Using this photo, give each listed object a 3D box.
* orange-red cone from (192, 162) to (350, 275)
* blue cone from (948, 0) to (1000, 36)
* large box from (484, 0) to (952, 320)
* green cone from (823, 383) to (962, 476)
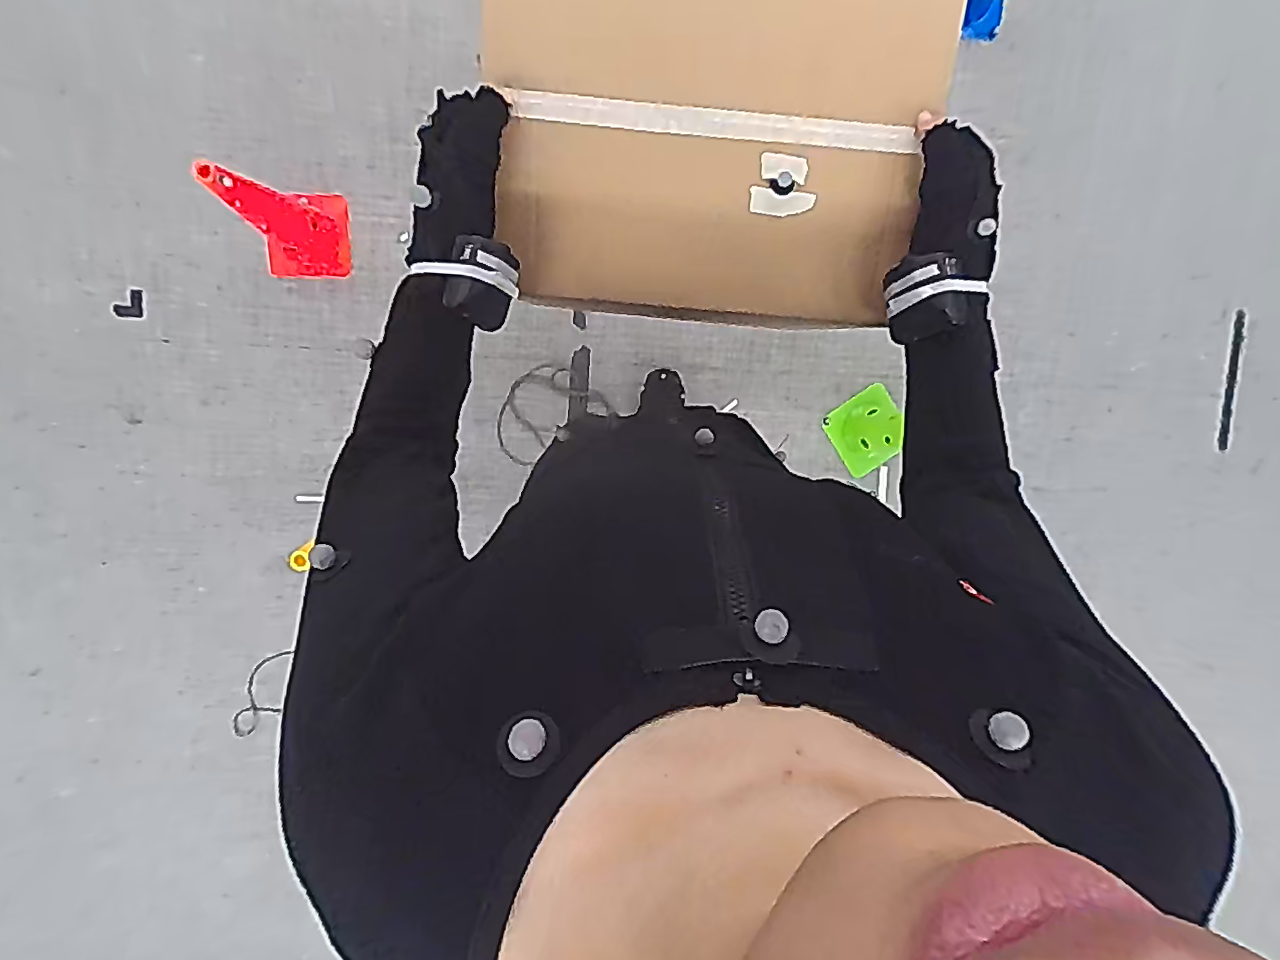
[{"bbox_3d":[-0.820,-0.592,1.178,0.198,0.360,0.199,0,97,-2],"label":"orange-red cone"},{"bbox_3d":[0.852,-1.228,1.219,0.192,0.380,0.193,6,96,-5],"label":"blue cone"},{"bbox_3d":[0.057,-0.361,0.622,0.408,0.320,0.320,4,105,-3],"label":"large box"},{"bbox_3d":[0.637,-0.120,1.307,0.202,0.368,0.200,-35,97,-1],"label":"green cone"}]
